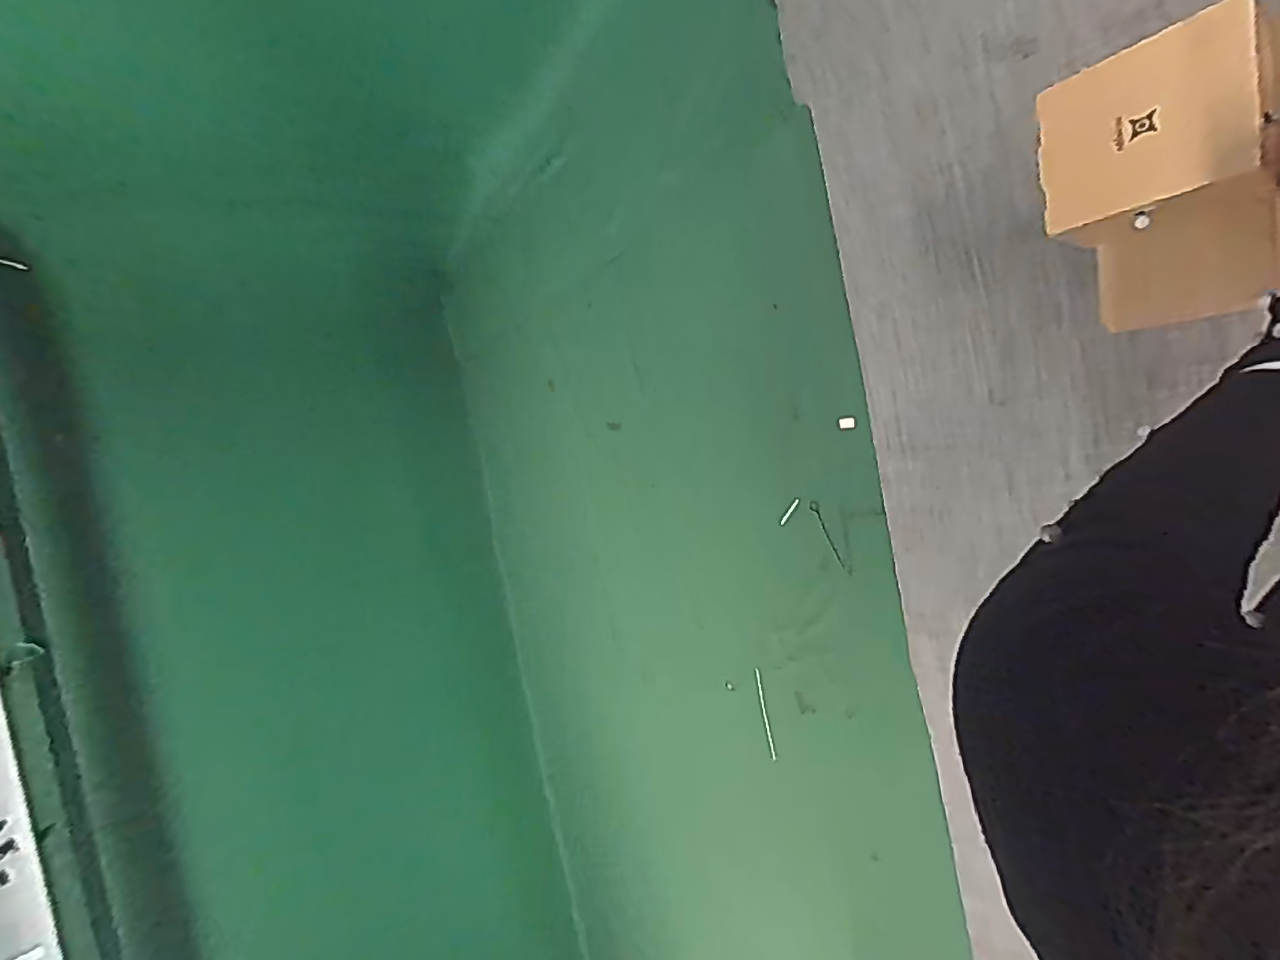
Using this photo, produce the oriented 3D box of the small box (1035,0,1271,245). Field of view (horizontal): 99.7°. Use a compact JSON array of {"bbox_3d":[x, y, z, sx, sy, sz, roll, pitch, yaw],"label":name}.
[{"bbox_3d":[0.599,-0.392,0.632,0.179,0.176,0.168,-2,97,54],"label":"small box"}]
